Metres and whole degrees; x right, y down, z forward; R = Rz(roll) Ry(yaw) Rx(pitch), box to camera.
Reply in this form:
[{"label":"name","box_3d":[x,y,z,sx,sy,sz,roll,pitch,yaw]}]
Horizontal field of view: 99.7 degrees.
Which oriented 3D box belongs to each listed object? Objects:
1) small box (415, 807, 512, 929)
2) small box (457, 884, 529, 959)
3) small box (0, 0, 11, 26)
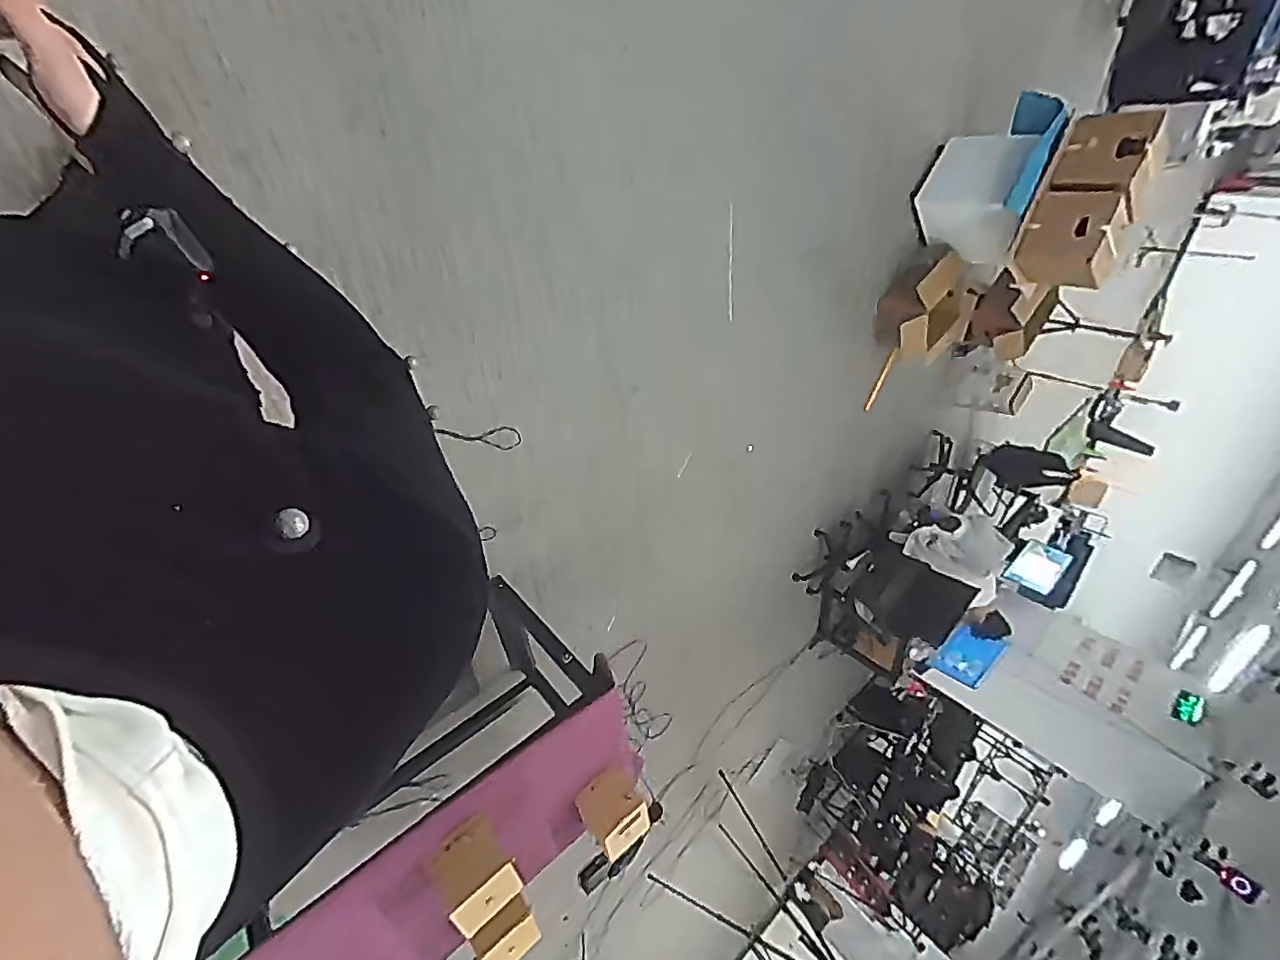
[{"label":"small box","box_3d":[-0.460,1.003,1.410,0.168,0.176,0.179,-28,132,-29]},{"label":"small box","box_3d":[-0.448,1.274,1.590,0.168,0.176,0.179,-26,128,-30]},{"label":"small box","box_3d":[-0.545,-0.424,0.332,0.168,0.176,0.179,-14,121,-38]}]
